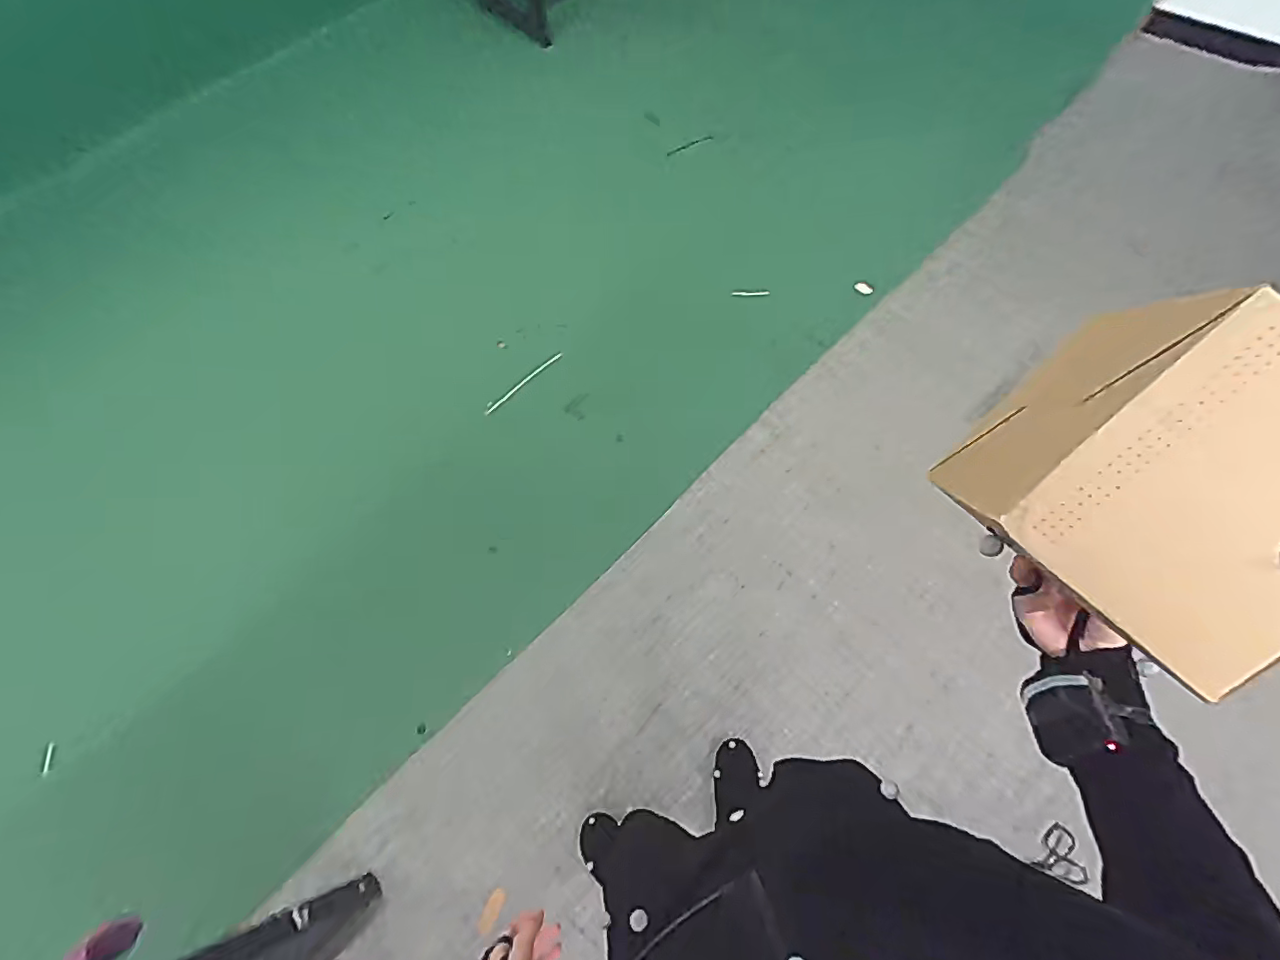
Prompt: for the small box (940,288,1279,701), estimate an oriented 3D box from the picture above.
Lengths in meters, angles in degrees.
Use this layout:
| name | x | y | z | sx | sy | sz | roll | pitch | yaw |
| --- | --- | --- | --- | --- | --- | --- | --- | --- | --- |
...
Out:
| name | x | y | z | sx | sy | sz | roll | pitch | yaw |
| --- | --- | --- | --- | --- | --- | --- | --- | --- | --- |
| small box | 0.353 | -0.002 | 0.366 | 0.176 | 0.168 | 0.179 | 42 | 107 | 3 |
